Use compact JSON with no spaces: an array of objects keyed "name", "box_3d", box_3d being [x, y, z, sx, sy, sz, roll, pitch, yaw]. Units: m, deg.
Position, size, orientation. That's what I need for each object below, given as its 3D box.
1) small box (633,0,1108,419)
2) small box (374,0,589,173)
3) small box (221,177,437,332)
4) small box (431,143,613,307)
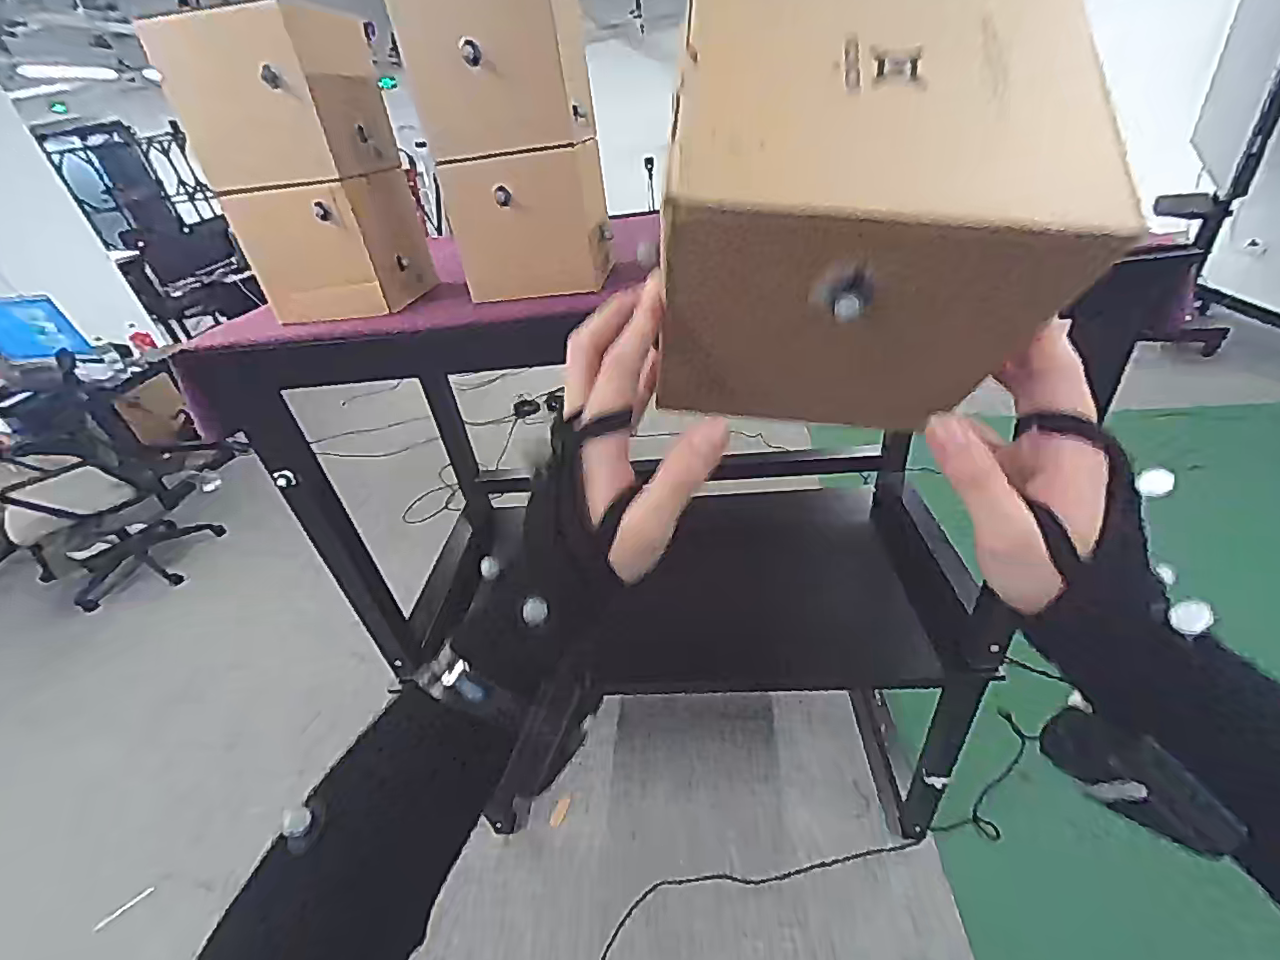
[{"name":"small box","box_3d":[0.095,-0.146,0.303,0.179,0.176,0.168,6,70,4]},{"name":"small box","box_3d":[-0.169,-0.480,0.647,0.179,0.176,0.168,-4,34,10]},{"name":"small box","box_3d":[-0.425,-0.320,0.773,0.179,0.176,0.168,-3,35,8]},{"name":"small box","box_3d":[-0.146,-0.347,0.740,0.179,0.176,0.168,-3,35,10]}]
